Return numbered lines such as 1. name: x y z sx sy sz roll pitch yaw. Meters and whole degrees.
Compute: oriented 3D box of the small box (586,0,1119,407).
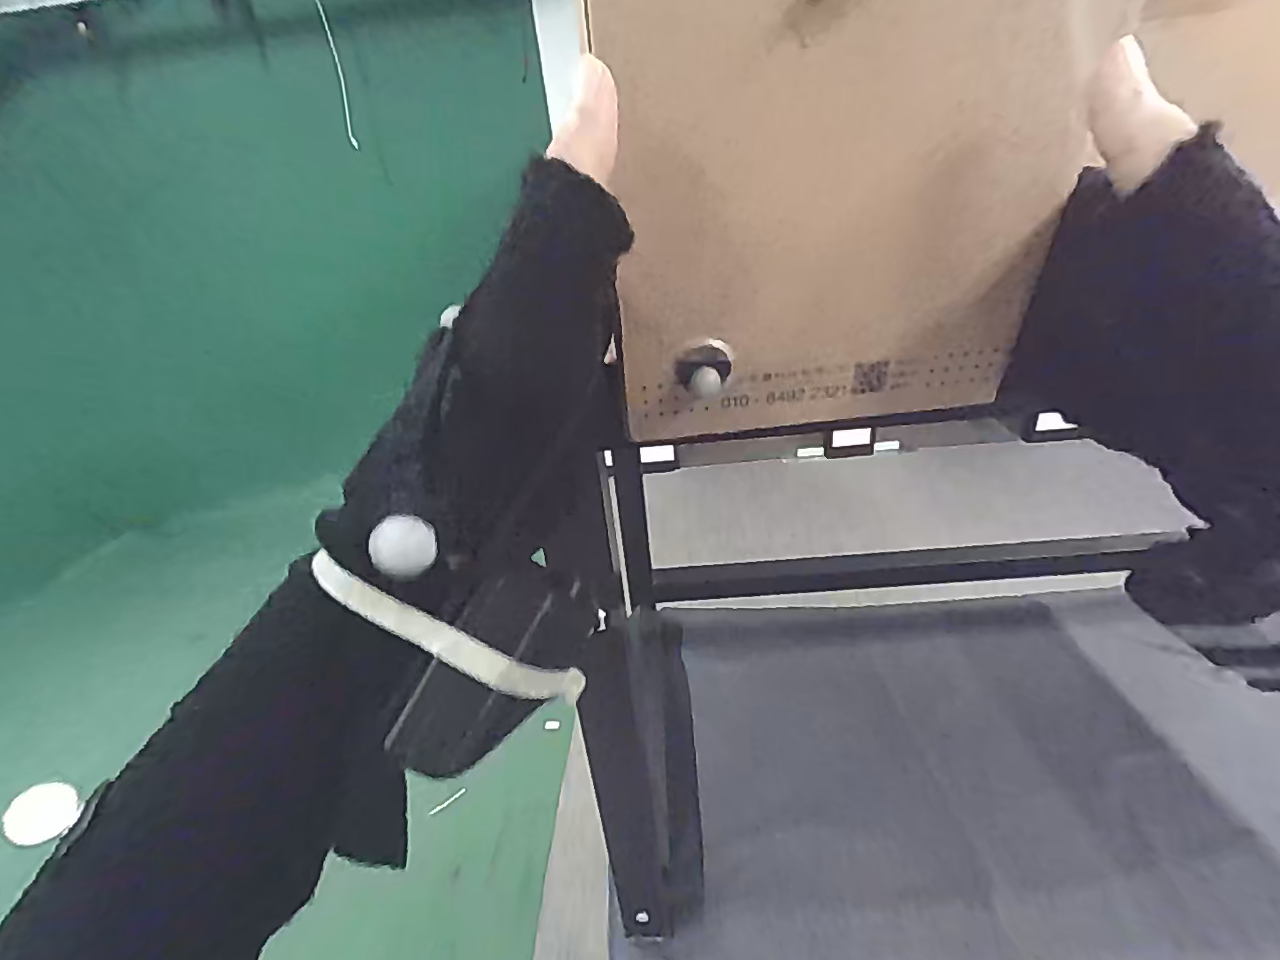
1. small box: 0.066 -0.143 0.253 0.168 0.176 0.179 -6 37 -2
